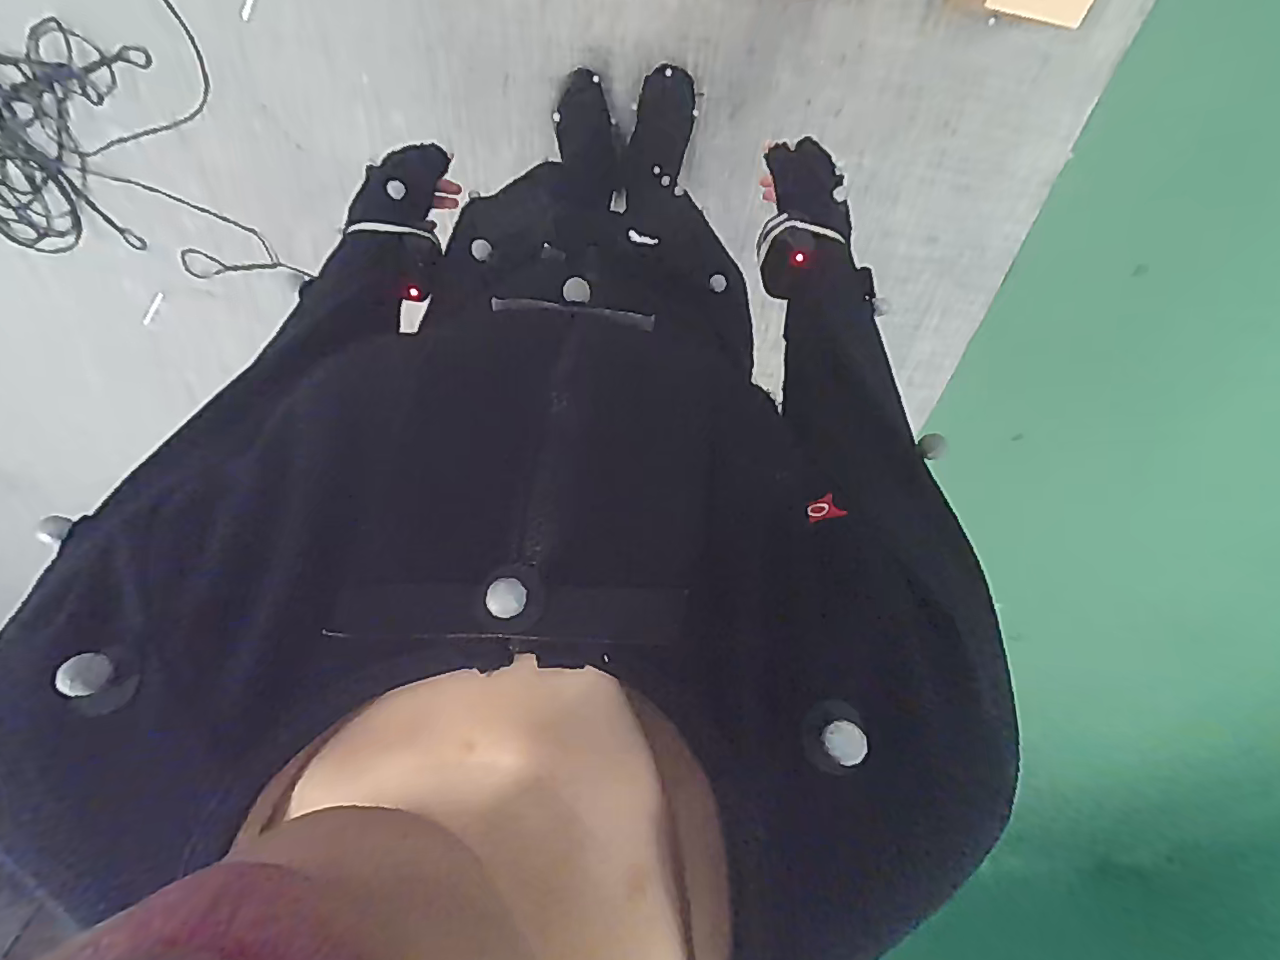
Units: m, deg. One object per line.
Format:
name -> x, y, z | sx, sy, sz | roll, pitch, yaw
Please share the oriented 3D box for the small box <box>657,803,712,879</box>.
small box -> 0.147, 1.211, 1.814 | 0.168, 0.176, 0.179 | 4, 133, 1
